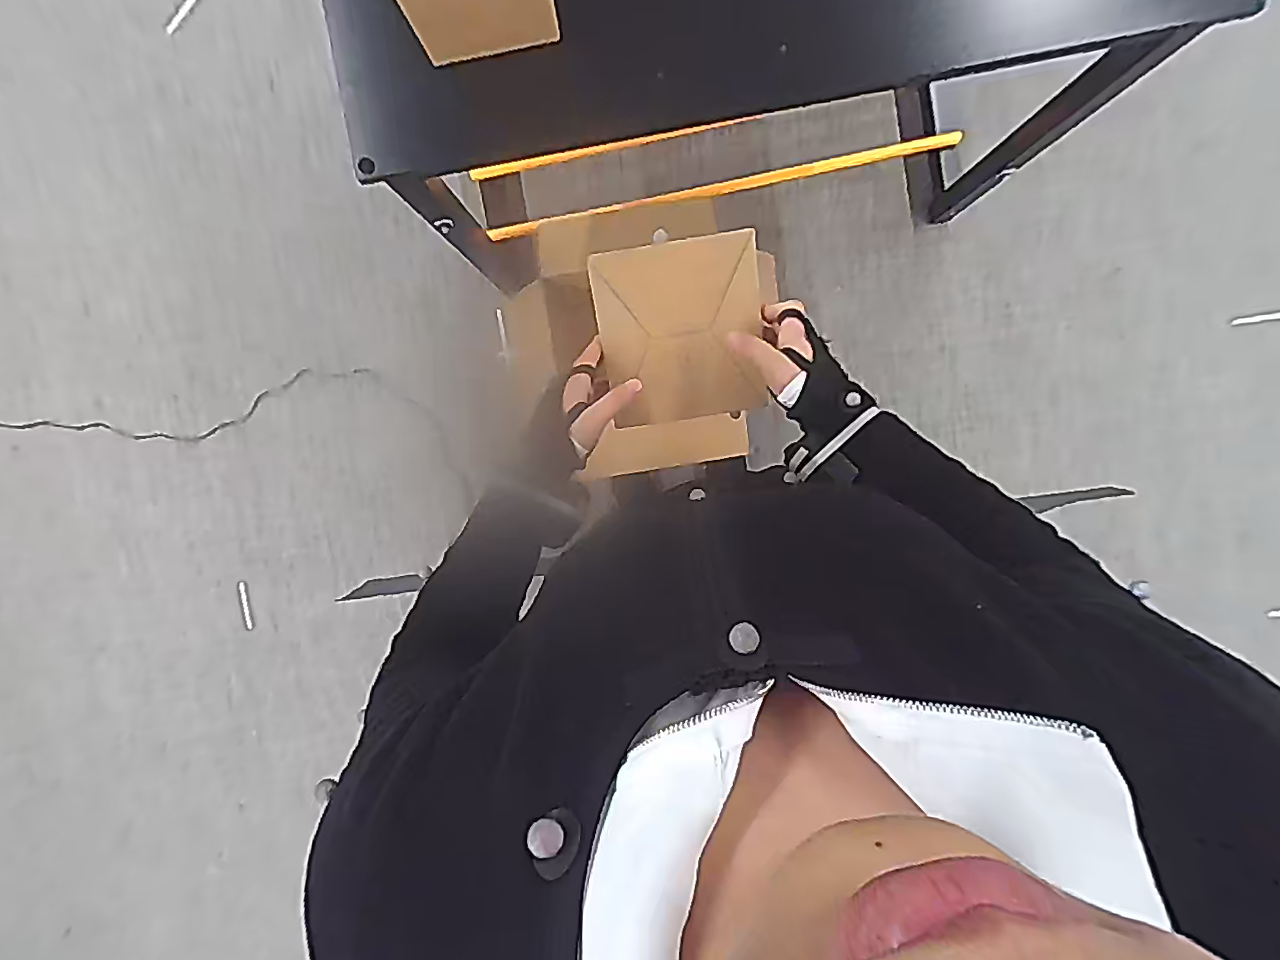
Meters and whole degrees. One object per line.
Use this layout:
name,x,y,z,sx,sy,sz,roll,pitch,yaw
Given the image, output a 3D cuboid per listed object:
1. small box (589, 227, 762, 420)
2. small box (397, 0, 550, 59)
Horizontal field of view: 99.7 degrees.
small box,0.039,-0.178,0.623,0.168,0.176,0.179,-8,110,3
small box,-0.210,-0.648,0.639,0.179,0.176,0.168,-10,94,2
